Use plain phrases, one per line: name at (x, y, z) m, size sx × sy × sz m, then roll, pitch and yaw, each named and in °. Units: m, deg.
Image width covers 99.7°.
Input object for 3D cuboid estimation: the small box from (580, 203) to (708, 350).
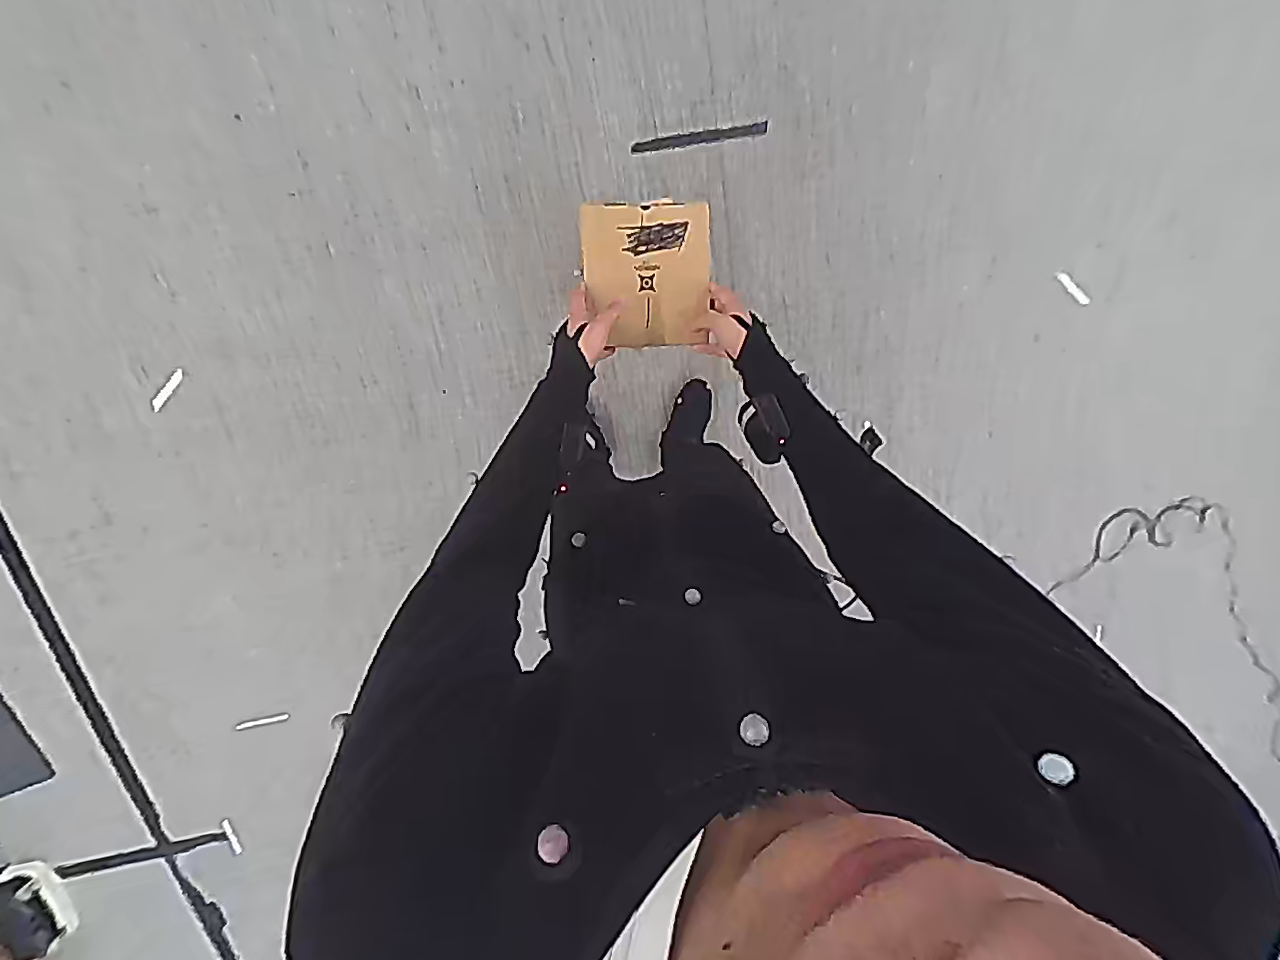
small box at (-0.001, -0.279, 0.773) m, size 0.168 × 0.176 × 0.179 m, roll -3°, pitch 104°, yaw -5°
